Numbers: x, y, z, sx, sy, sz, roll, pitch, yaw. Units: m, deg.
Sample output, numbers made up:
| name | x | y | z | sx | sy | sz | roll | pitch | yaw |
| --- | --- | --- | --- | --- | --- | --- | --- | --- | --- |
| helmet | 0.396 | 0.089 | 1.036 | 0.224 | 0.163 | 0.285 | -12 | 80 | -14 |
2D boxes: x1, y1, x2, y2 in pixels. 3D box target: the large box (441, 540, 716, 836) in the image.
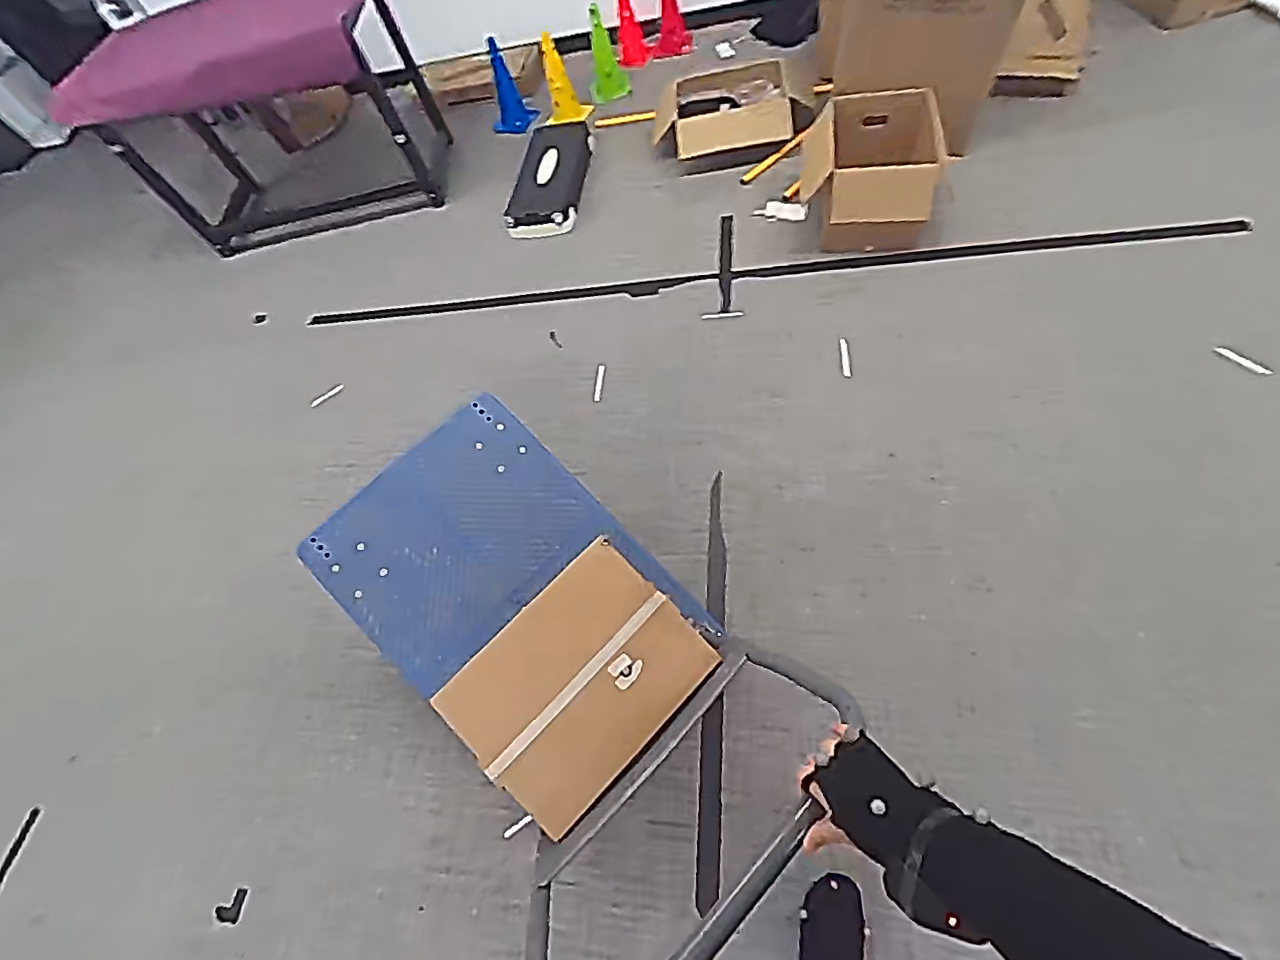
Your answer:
| name | x | y | z | sx | sy | sz | roll | pitch | yaw |
| --- | --- | --- | --- | --- | --- | --- | --- | --- | --- |
| large box | -0.115 | 0.389 | 1.095 | 0.320 | 0.320 | 0.408 | 44 | 76 | 6 |
